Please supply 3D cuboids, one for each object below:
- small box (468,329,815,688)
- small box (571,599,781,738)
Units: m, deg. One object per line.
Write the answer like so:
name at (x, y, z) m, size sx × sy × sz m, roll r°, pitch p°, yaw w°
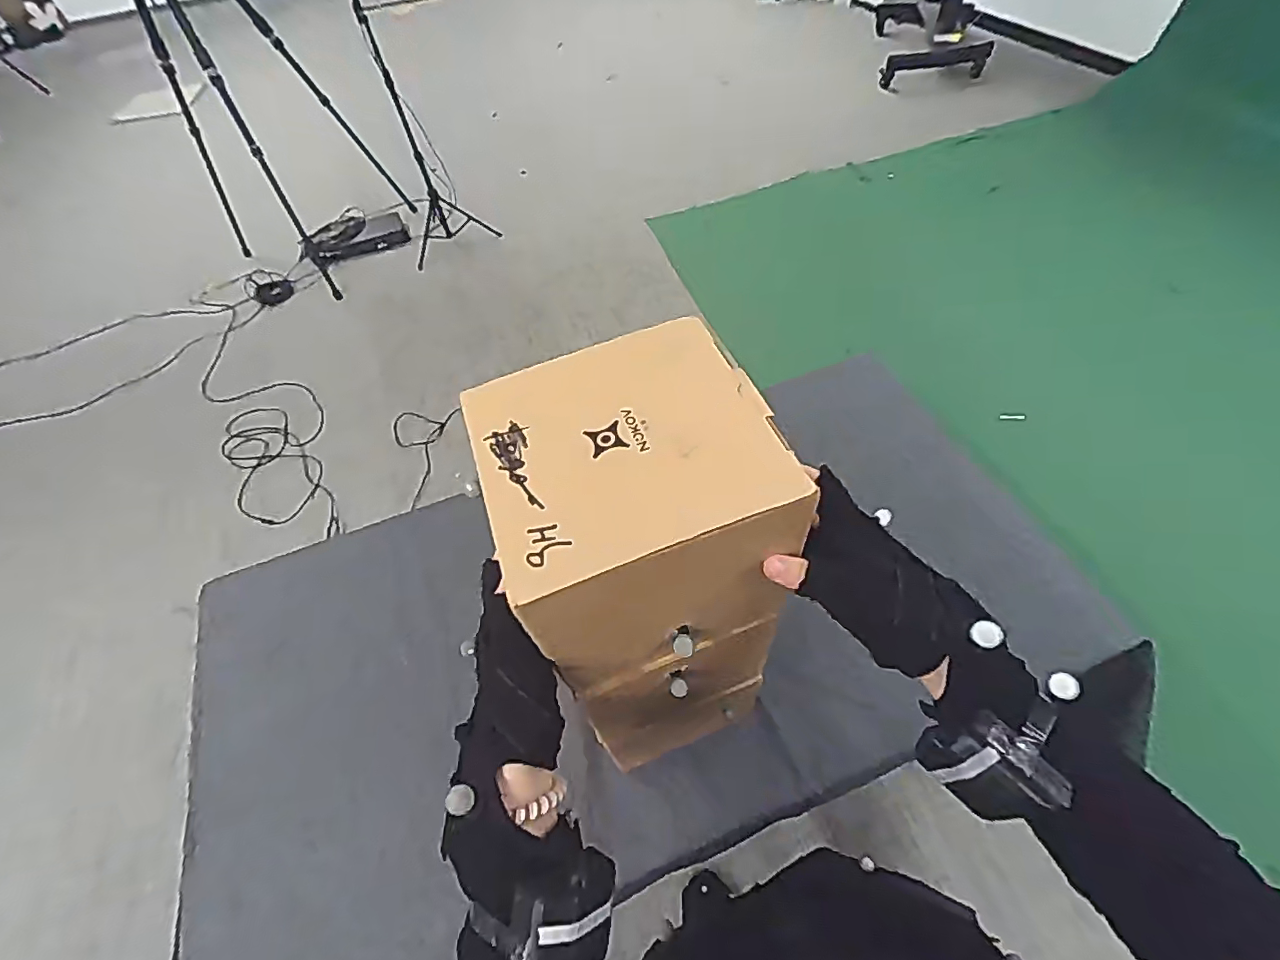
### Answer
small box at (-0.004, 0.026, 0.394) m, size 0.179 × 0.176 × 0.168 m, roll -19°, pitch 54°, yaw -8°
small box at (0.011, 0.124, 0.525) m, size 0.179 × 0.176 × 0.168 m, roll -21°, pitch 55°, yaw -8°
